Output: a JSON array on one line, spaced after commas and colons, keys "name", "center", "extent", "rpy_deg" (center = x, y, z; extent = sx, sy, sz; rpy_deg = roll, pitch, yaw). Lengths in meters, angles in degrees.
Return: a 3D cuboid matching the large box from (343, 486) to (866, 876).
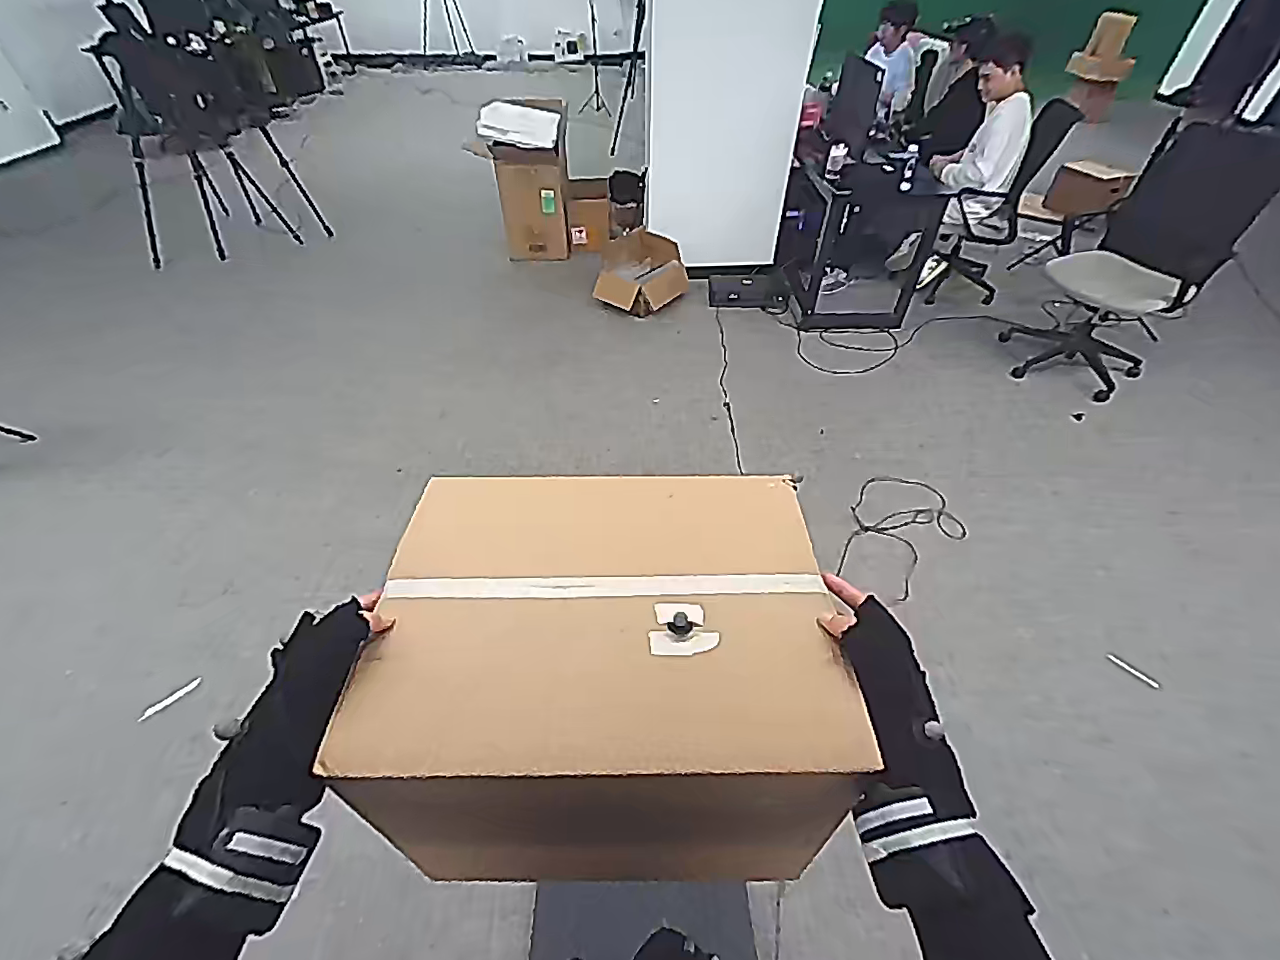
[{"name": "large box", "center": [-0.029, 0.220, 0.612], "extent": [0.408, 0.320, 0.320], "rpy_deg": [0, 42, 0]}]
